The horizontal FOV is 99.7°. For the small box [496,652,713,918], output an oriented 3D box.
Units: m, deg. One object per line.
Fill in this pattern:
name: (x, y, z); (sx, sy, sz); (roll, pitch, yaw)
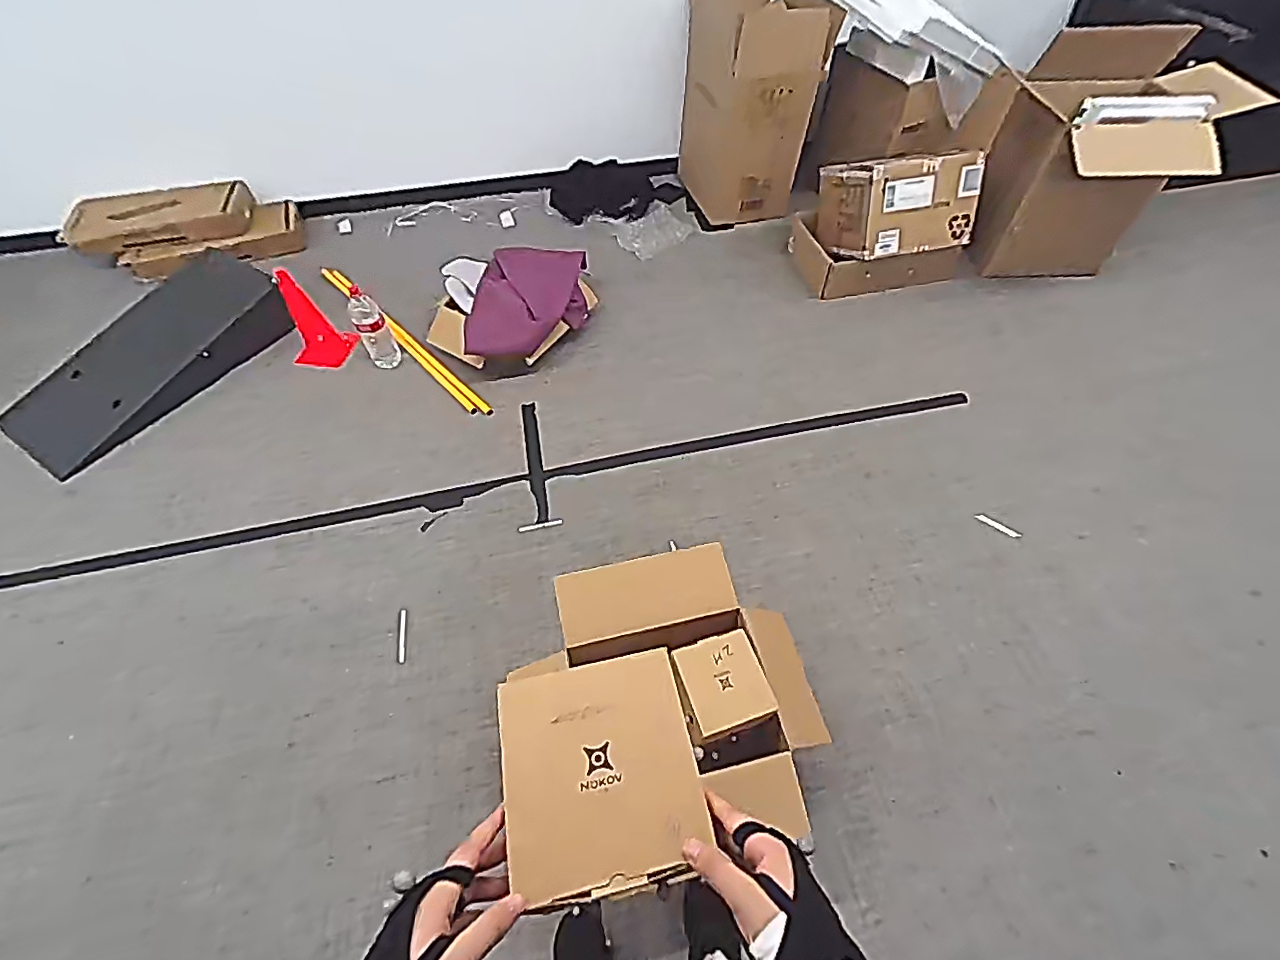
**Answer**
small box: (-0.037, 0.297, 0.528); (0.168, 0.176, 0.179); (-10, 51, -9)

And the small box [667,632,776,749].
small box: (0.161, 0.453, 1.148); (0.168, 0.176, 0.179); (-14, 56, -14)
